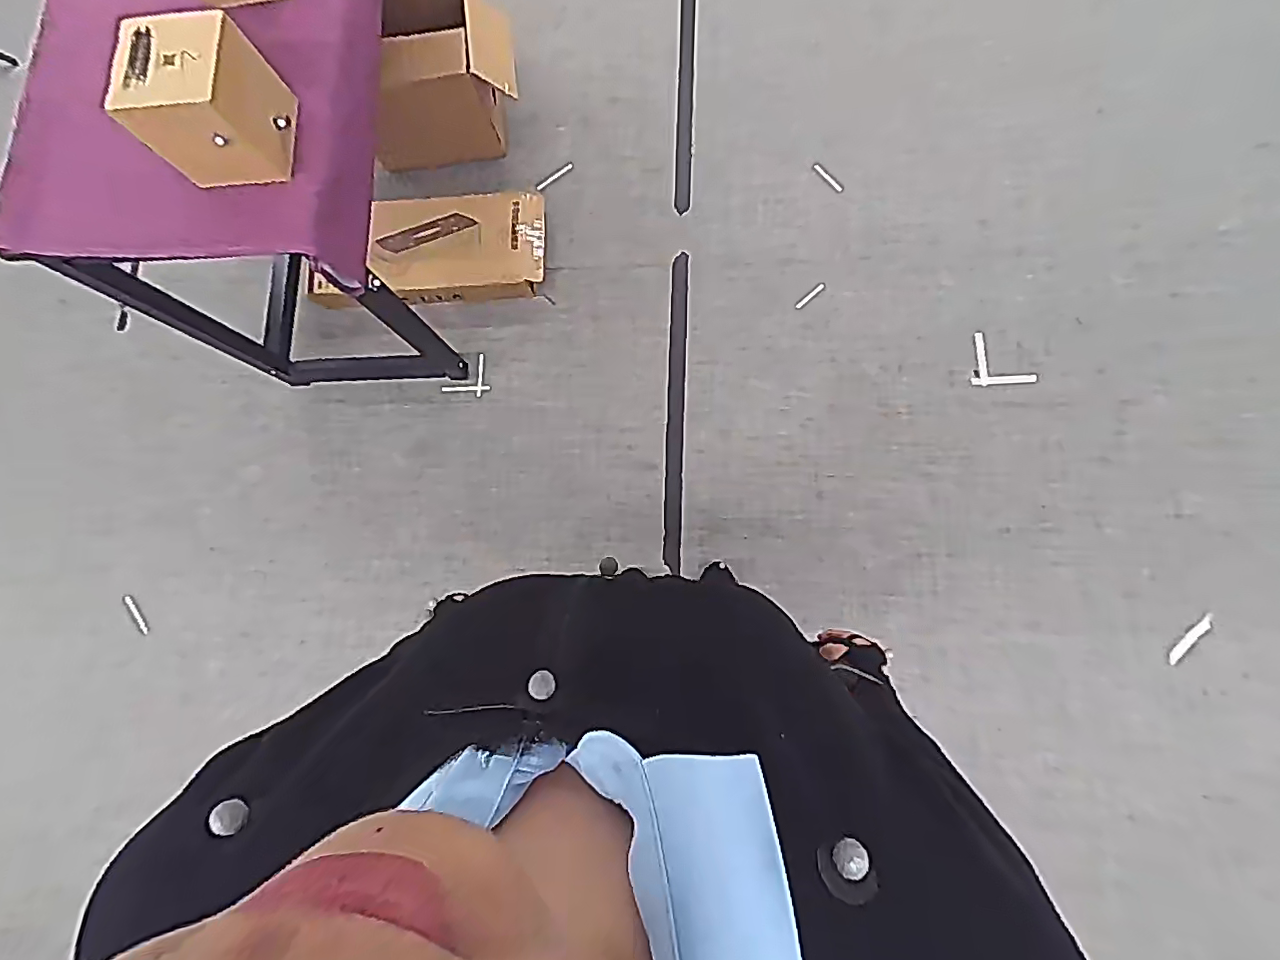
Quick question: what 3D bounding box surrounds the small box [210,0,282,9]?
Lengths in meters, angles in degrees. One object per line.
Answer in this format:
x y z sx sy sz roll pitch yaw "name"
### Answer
-0.754 -1.004 0.967 0.168 0.176 0.179 -2 80 7 "small box"
